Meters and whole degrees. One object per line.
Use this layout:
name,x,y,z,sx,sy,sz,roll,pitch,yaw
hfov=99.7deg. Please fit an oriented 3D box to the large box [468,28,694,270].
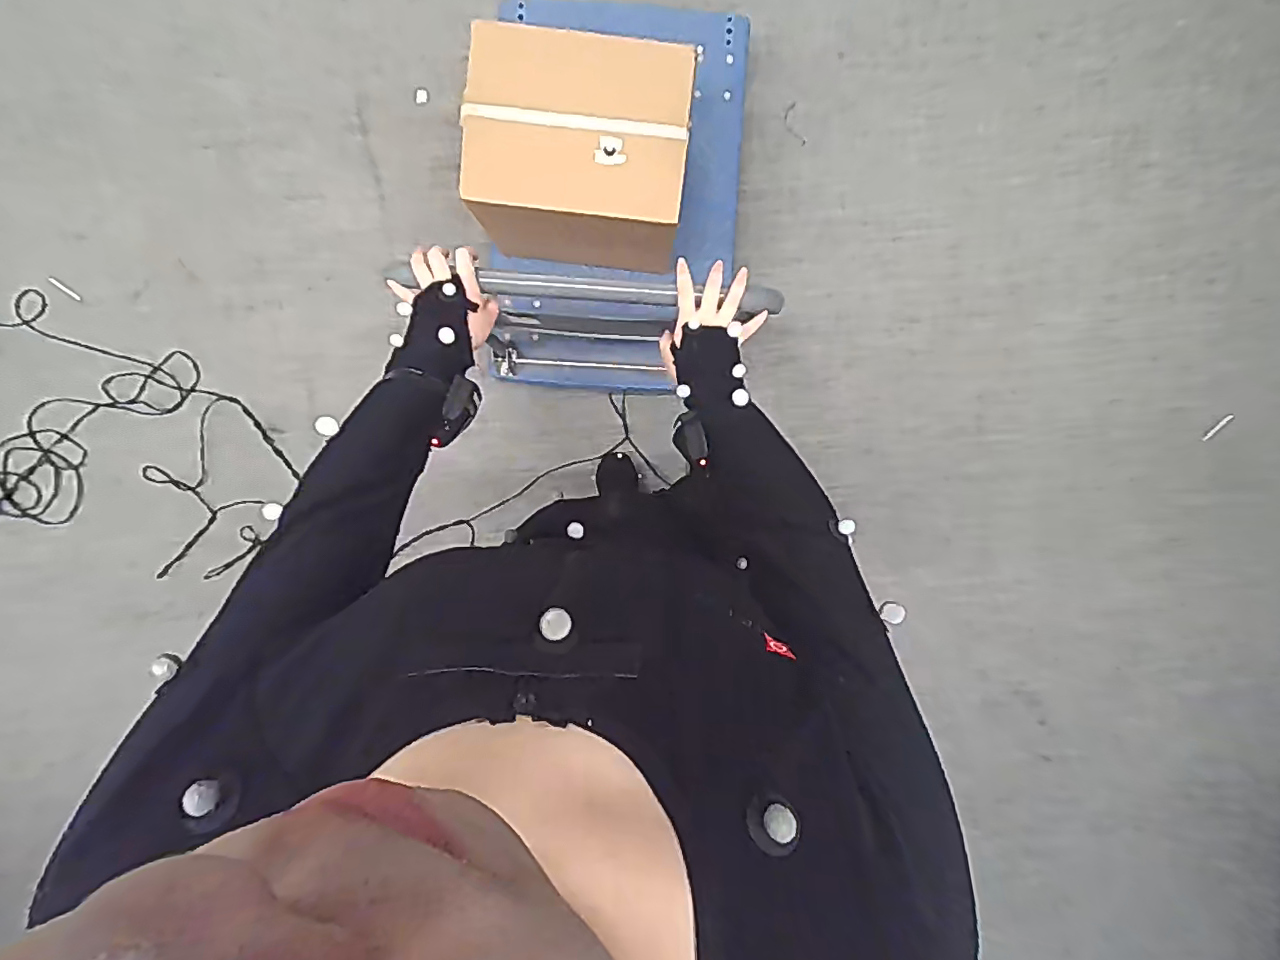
large box,-0.116,-0.663,1.143,0.408,0.320,0.320,6,94,-2
